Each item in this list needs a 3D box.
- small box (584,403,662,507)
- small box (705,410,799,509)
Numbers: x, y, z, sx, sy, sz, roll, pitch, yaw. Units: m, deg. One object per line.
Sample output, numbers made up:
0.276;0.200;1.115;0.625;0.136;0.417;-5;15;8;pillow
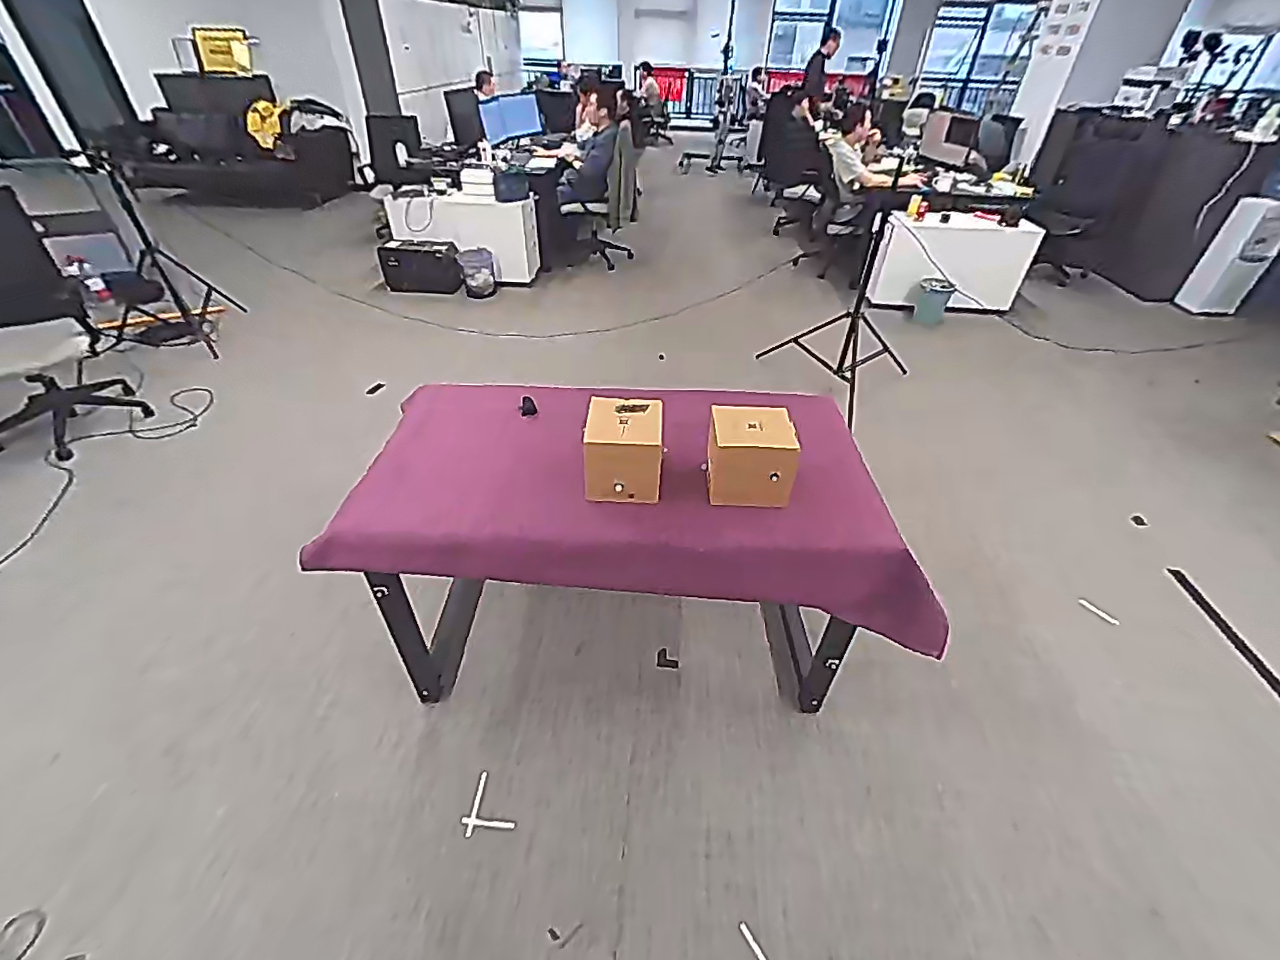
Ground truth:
-0.036;-0.059;1.243;0.168;0.176;0.179;2;39;1;small box
0.248;-0.046;1.241;0.179;0.176;0.168;0;37;0;small box
